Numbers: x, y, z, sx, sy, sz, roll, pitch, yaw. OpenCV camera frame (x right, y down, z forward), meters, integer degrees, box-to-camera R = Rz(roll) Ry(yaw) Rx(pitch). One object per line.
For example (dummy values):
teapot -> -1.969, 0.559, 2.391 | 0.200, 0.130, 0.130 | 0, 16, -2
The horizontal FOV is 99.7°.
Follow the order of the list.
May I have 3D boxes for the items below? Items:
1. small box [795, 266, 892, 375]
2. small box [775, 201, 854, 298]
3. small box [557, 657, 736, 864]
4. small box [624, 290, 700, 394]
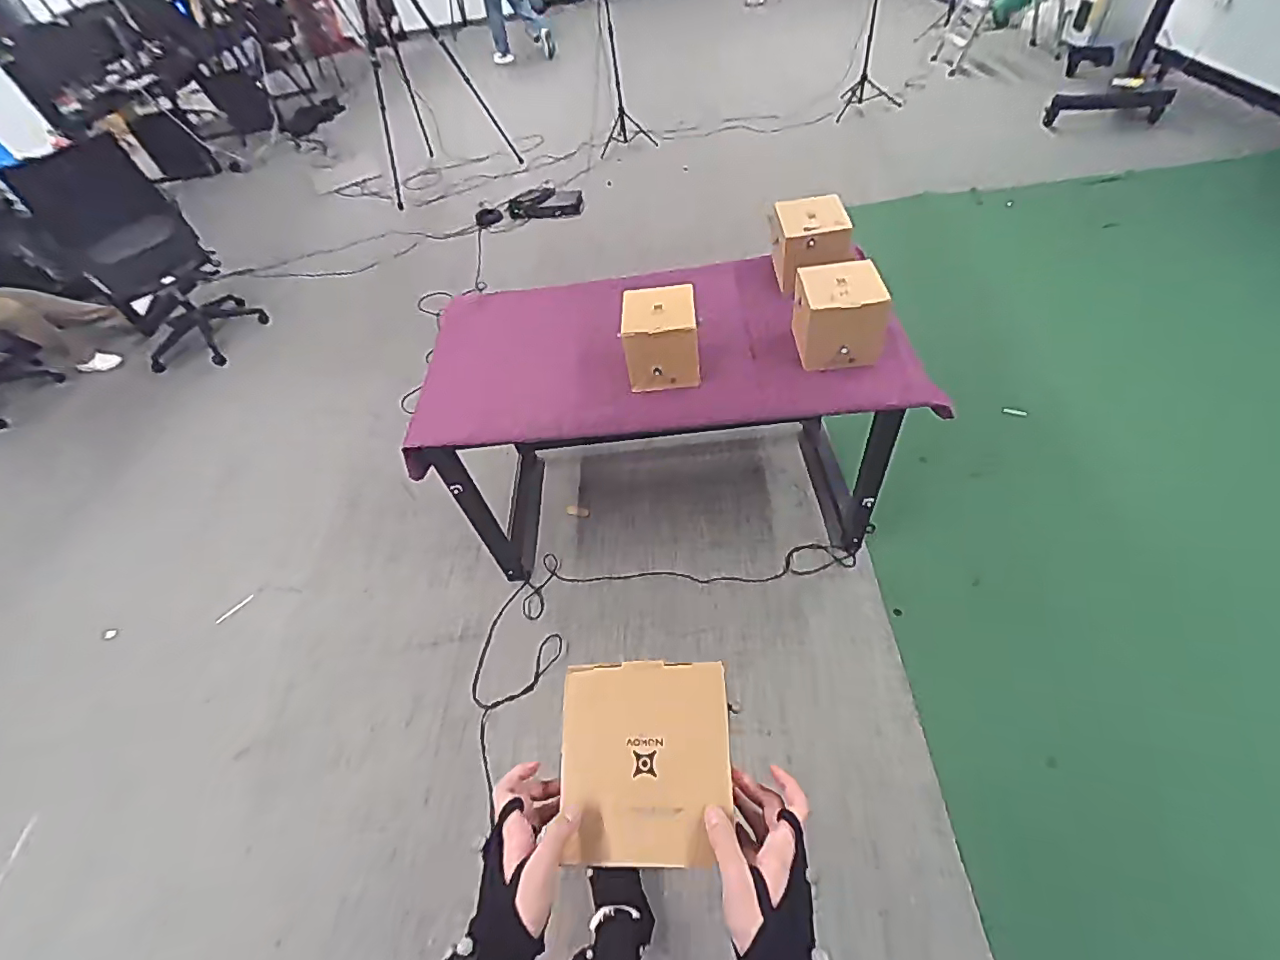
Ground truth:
small box -> 0.457, -0.365, 1.244 | 0.168, 0.176, 0.179 | -4, 49, 8
small box -> 0.457, -0.614, 1.448 | 0.168, 0.176, 0.179 | -6, 52, 7
small box -> 0.015, 0.294, 0.593 | 0.168, 0.176, 0.179 | -4, 68, 8
small box -> 0.056, -0.325, 1.284 | 0.168, 0.176, 0.179 | -4, 50, 6
